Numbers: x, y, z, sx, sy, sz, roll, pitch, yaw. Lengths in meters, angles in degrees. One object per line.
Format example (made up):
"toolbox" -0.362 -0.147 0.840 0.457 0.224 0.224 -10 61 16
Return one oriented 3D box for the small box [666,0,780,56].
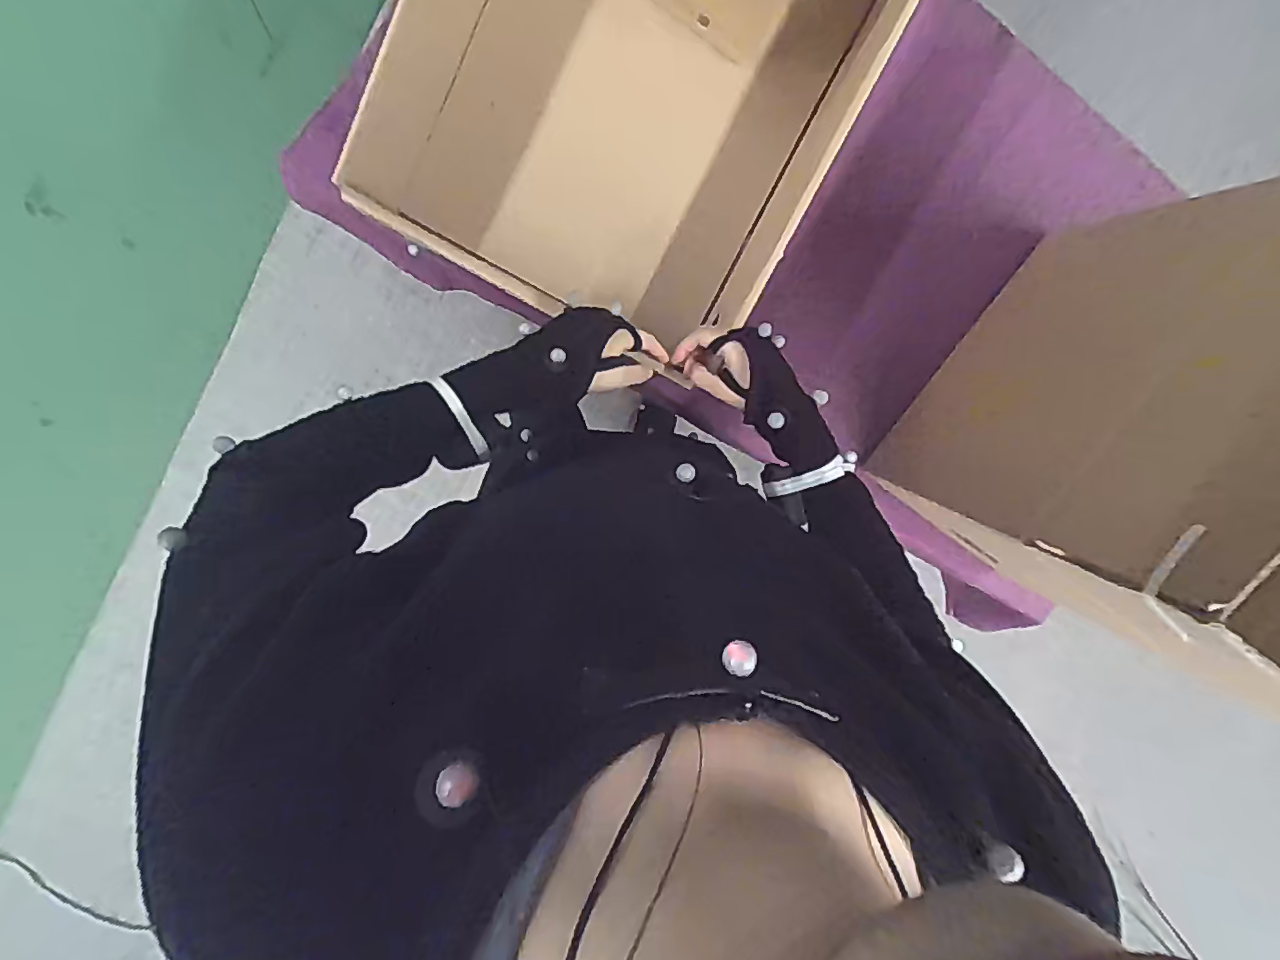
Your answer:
"small box" 0.094 -0.557 0.502 0.168 0.176 0.179 30 99 -11
